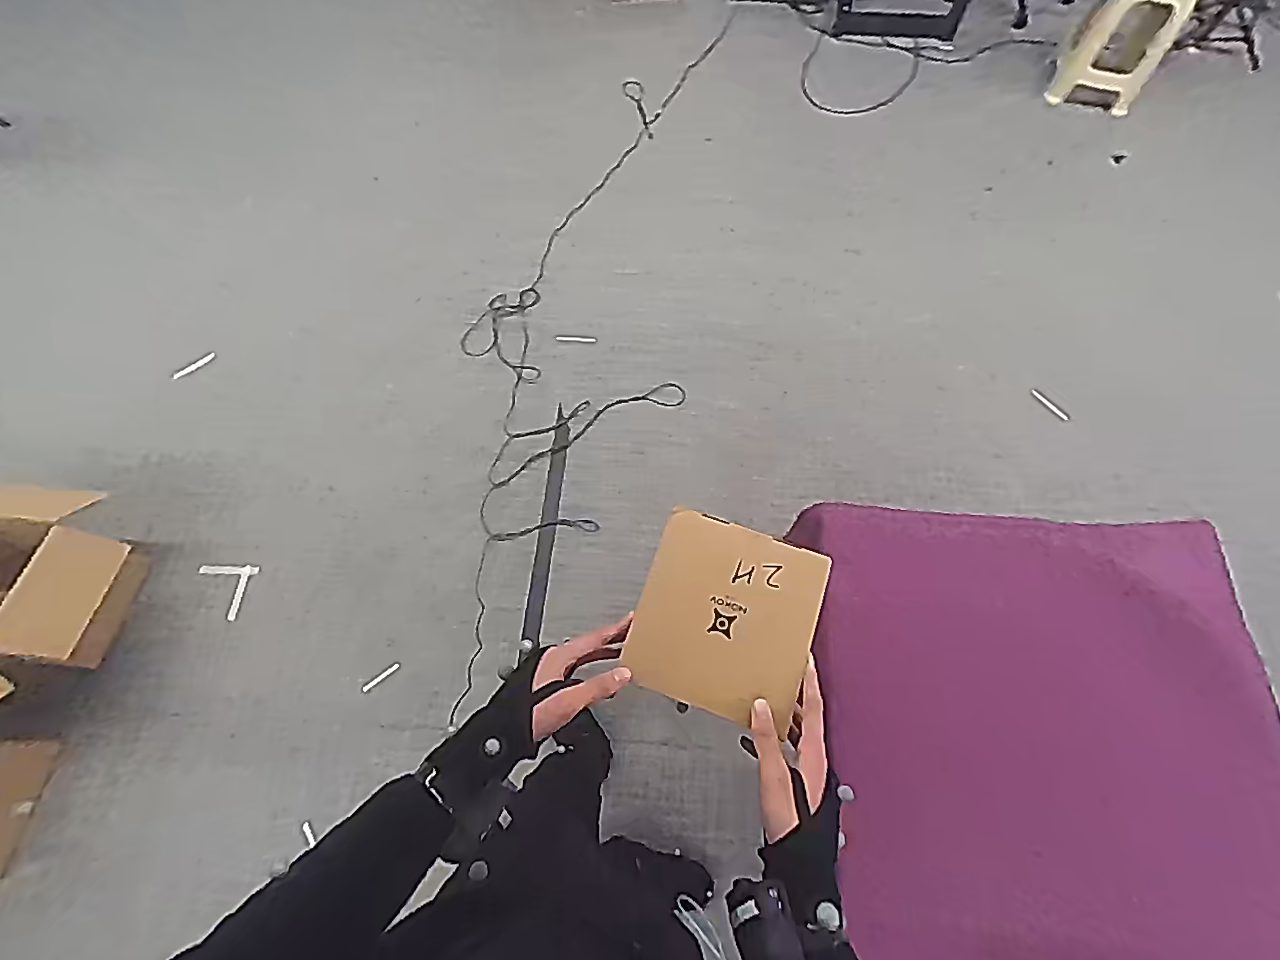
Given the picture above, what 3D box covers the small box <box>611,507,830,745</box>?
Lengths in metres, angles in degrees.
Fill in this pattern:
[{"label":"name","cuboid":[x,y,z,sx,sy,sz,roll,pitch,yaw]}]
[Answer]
[{"label":"small box","cuboid":[0.080,0.153,0.580,0.168,0.176,0.179,19,74,6]}]
